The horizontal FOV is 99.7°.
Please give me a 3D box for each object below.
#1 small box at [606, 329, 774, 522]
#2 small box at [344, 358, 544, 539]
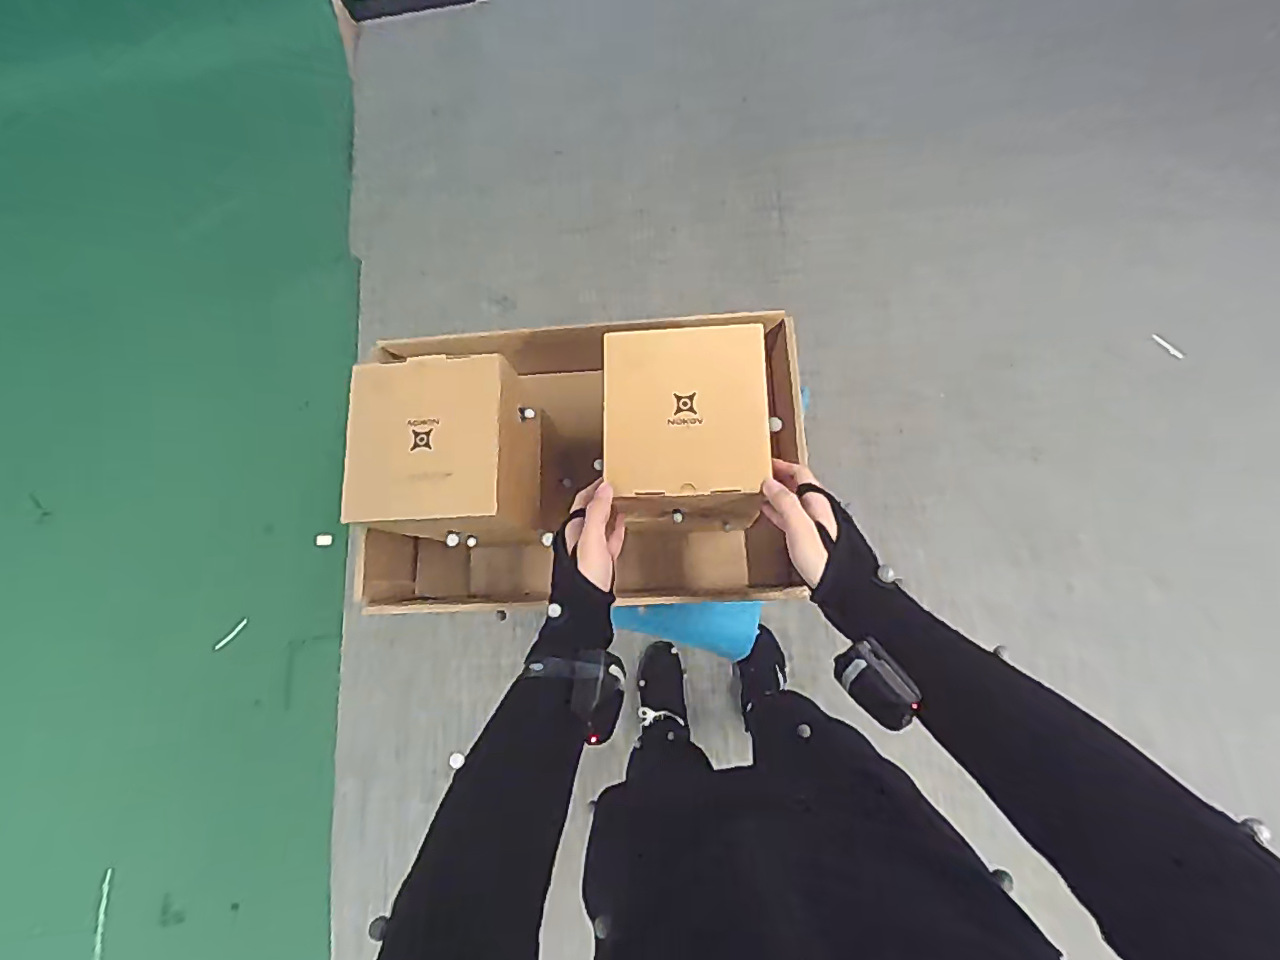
[{"bbox_3d":[0.055,-0.051,0.617,0.168,0.176,0.179,-2,78,6],"label":"small box"},{"bbox_3d":[-0.216,-0.027,0.643,0.168,0.176,0.179,-2,78,5],"label":"small box"}]
